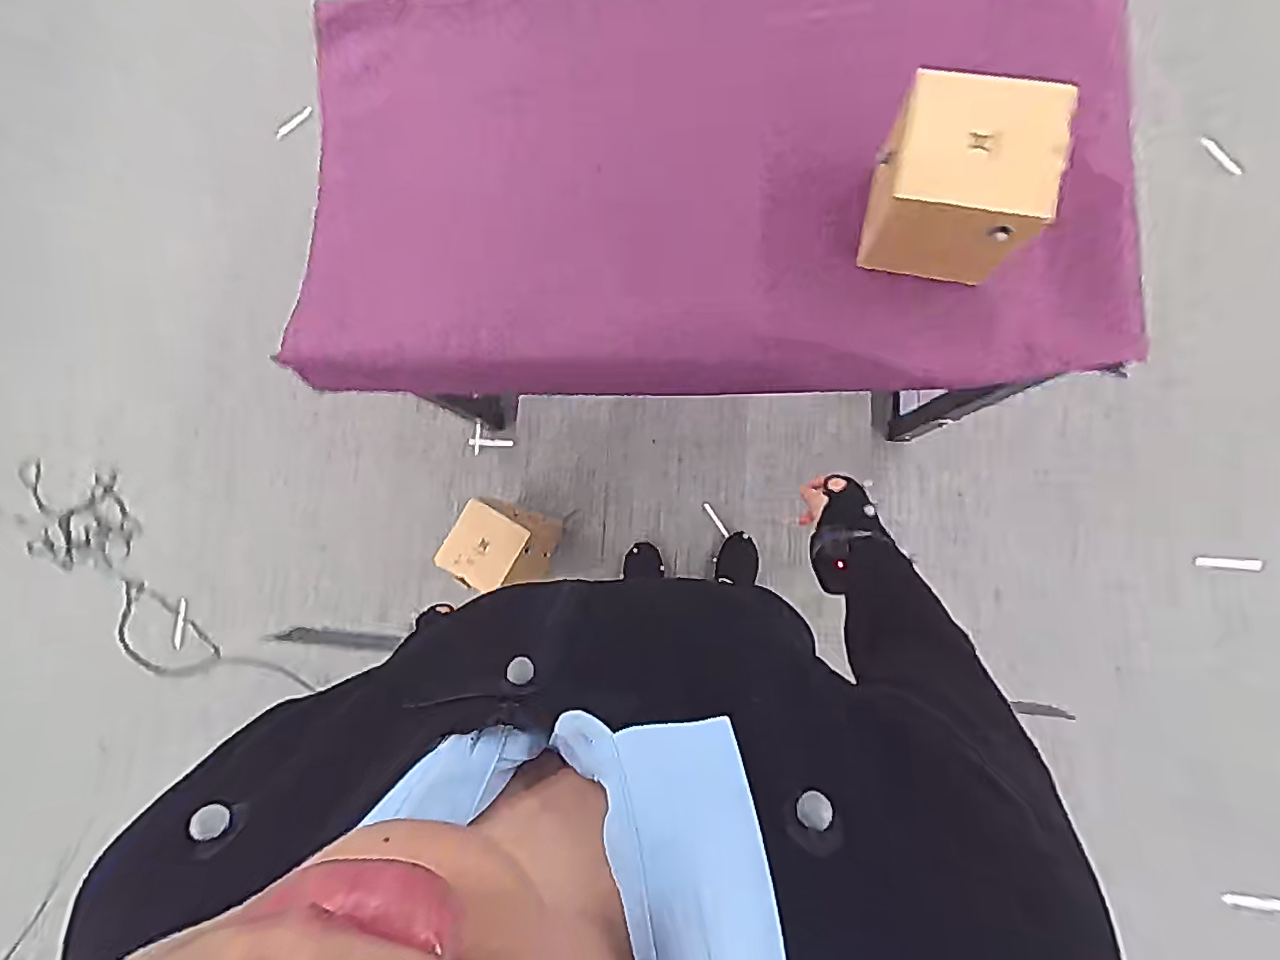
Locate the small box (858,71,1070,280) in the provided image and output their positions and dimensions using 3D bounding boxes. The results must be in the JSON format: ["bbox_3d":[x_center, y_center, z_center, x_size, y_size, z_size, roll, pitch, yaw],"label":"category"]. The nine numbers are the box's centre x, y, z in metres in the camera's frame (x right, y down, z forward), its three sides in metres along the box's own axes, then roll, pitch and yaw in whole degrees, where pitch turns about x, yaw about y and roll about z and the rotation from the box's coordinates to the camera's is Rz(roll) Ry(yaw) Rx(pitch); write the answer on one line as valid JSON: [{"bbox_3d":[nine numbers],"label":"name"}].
[{"bbox_3d":[0.403,-0.382,0.704,0.179,0.176,0.168,12,86,7],"label":"small box"}]

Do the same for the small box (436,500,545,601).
[{"bbox_3d":[-0.346,0.164,1.295,0.168,0.176,0.179,30,89,7],"label":"small box"}]
